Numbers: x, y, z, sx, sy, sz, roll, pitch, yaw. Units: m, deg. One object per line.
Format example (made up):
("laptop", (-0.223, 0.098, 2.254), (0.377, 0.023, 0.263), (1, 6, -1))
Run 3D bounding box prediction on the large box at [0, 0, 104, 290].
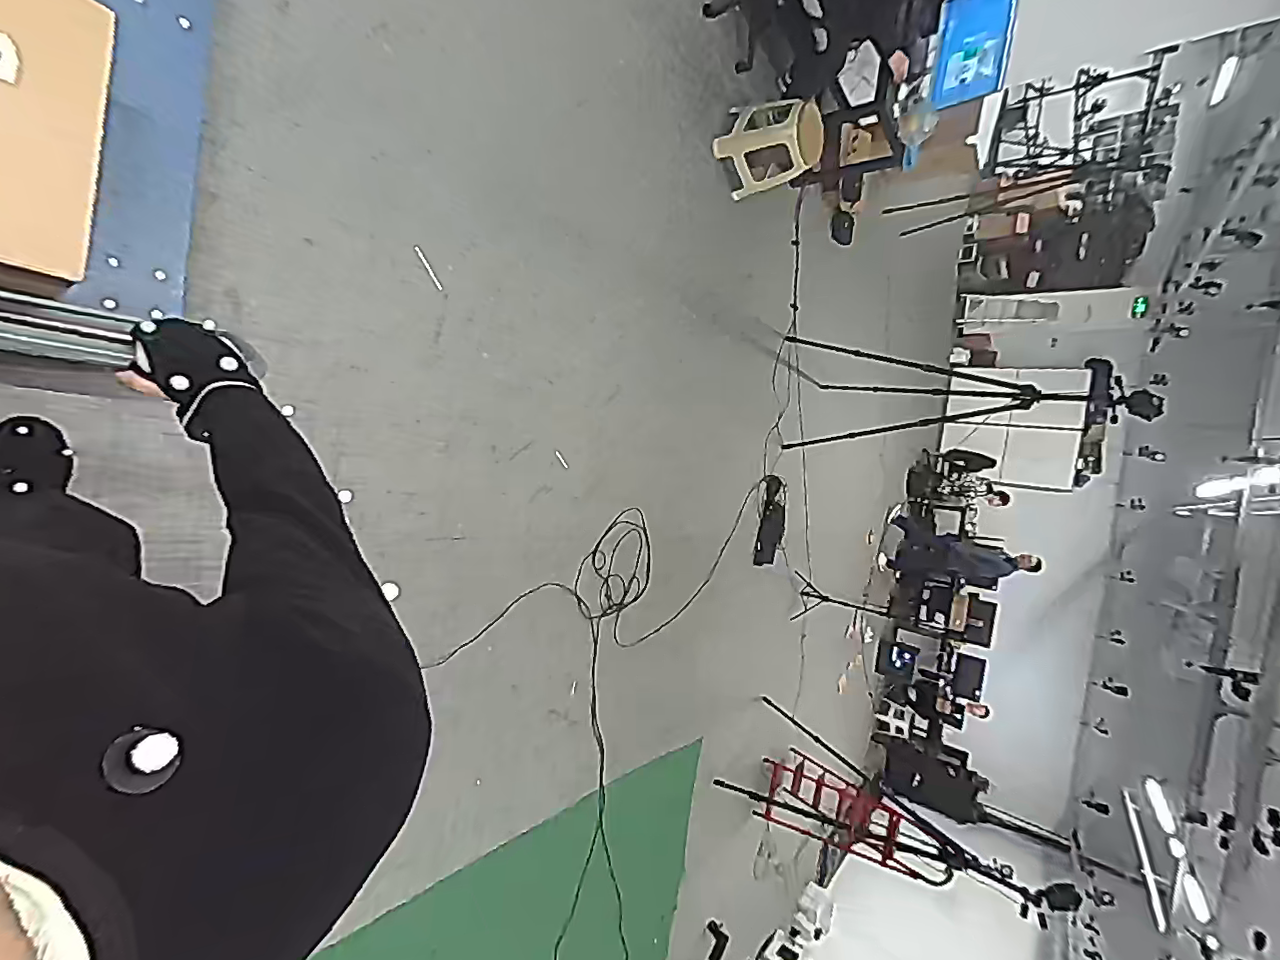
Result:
("large box", (-1.017, -0.530, 0.771), (0.320, 0.320, 0.408), (5, 92, -53))
